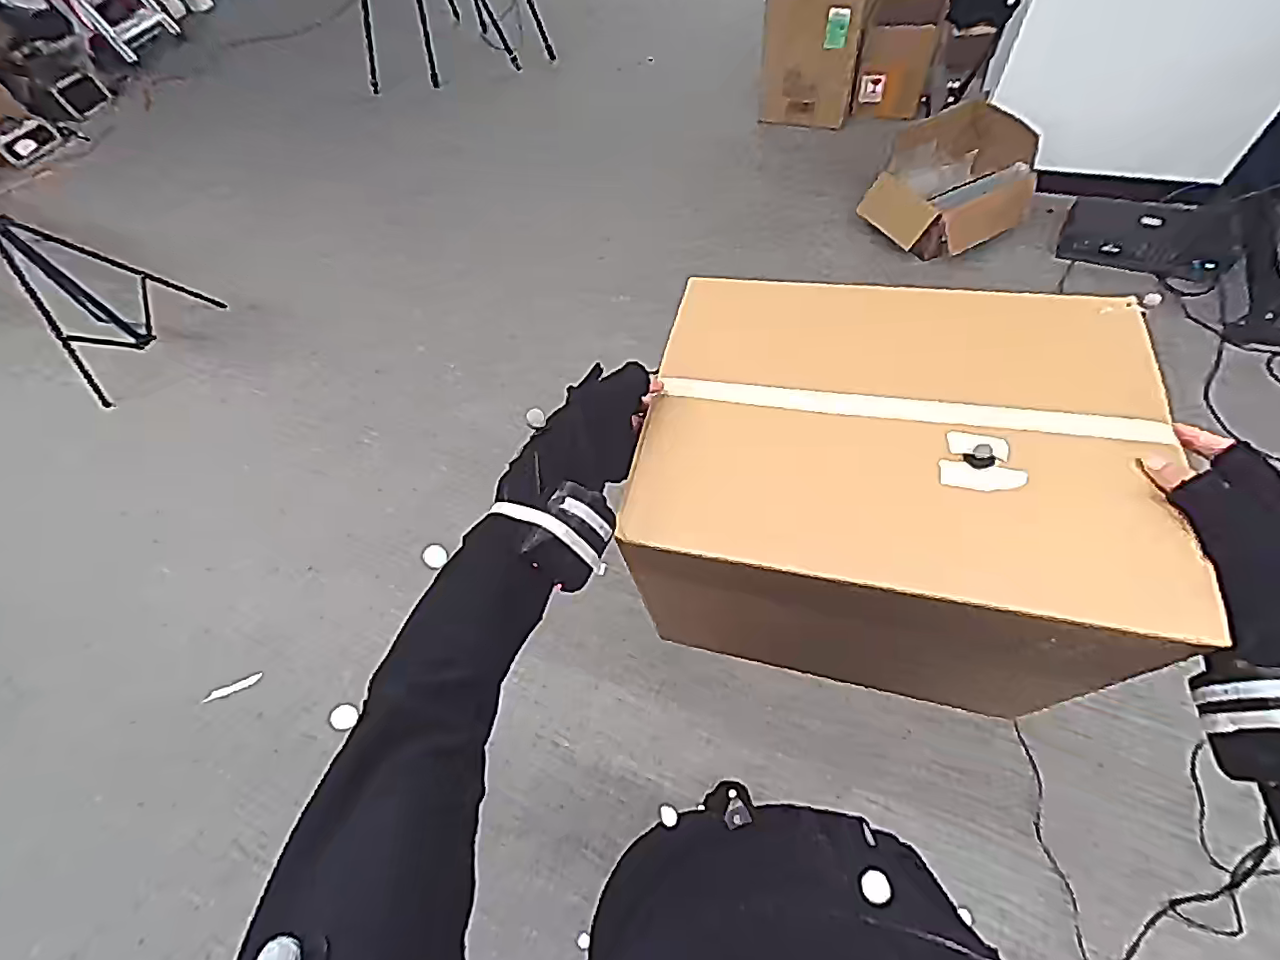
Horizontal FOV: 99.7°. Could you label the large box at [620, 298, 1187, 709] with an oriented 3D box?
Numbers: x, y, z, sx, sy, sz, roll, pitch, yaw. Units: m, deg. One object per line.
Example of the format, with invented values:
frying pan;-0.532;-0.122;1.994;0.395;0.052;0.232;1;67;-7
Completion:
large box;0.225;0.029;0.600;0.408;0.320;0.320;8;61;14
